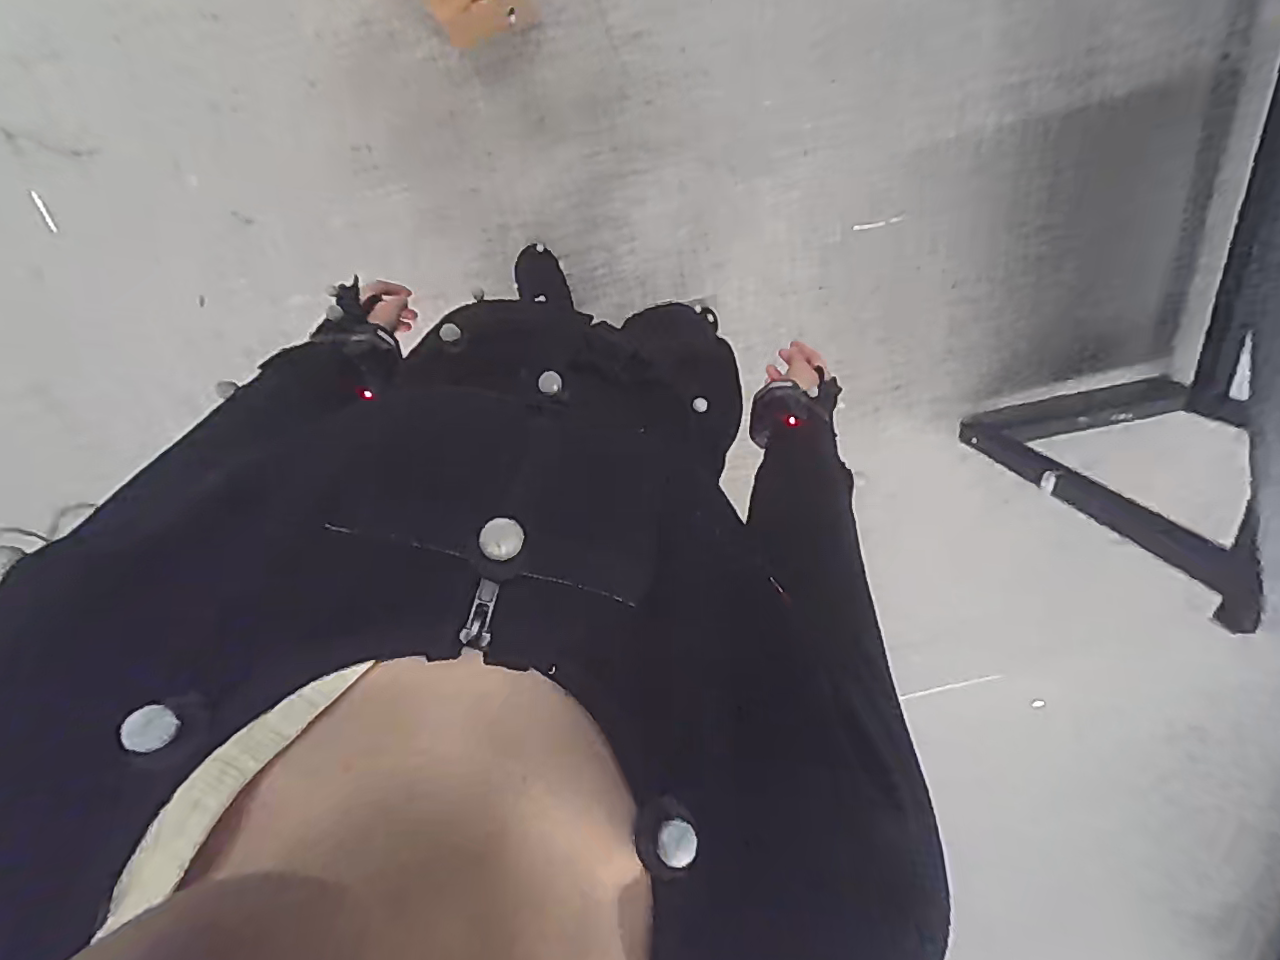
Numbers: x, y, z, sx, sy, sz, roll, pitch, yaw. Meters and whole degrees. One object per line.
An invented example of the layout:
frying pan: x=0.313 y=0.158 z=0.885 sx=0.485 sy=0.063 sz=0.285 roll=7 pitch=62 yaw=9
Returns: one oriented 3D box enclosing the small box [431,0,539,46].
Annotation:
small box: x=-0.280 y=-0.874 z=0.913 sx=0.168 sy=0.176 sz=0.179 roll=-19 pitch=114 yaw=3
